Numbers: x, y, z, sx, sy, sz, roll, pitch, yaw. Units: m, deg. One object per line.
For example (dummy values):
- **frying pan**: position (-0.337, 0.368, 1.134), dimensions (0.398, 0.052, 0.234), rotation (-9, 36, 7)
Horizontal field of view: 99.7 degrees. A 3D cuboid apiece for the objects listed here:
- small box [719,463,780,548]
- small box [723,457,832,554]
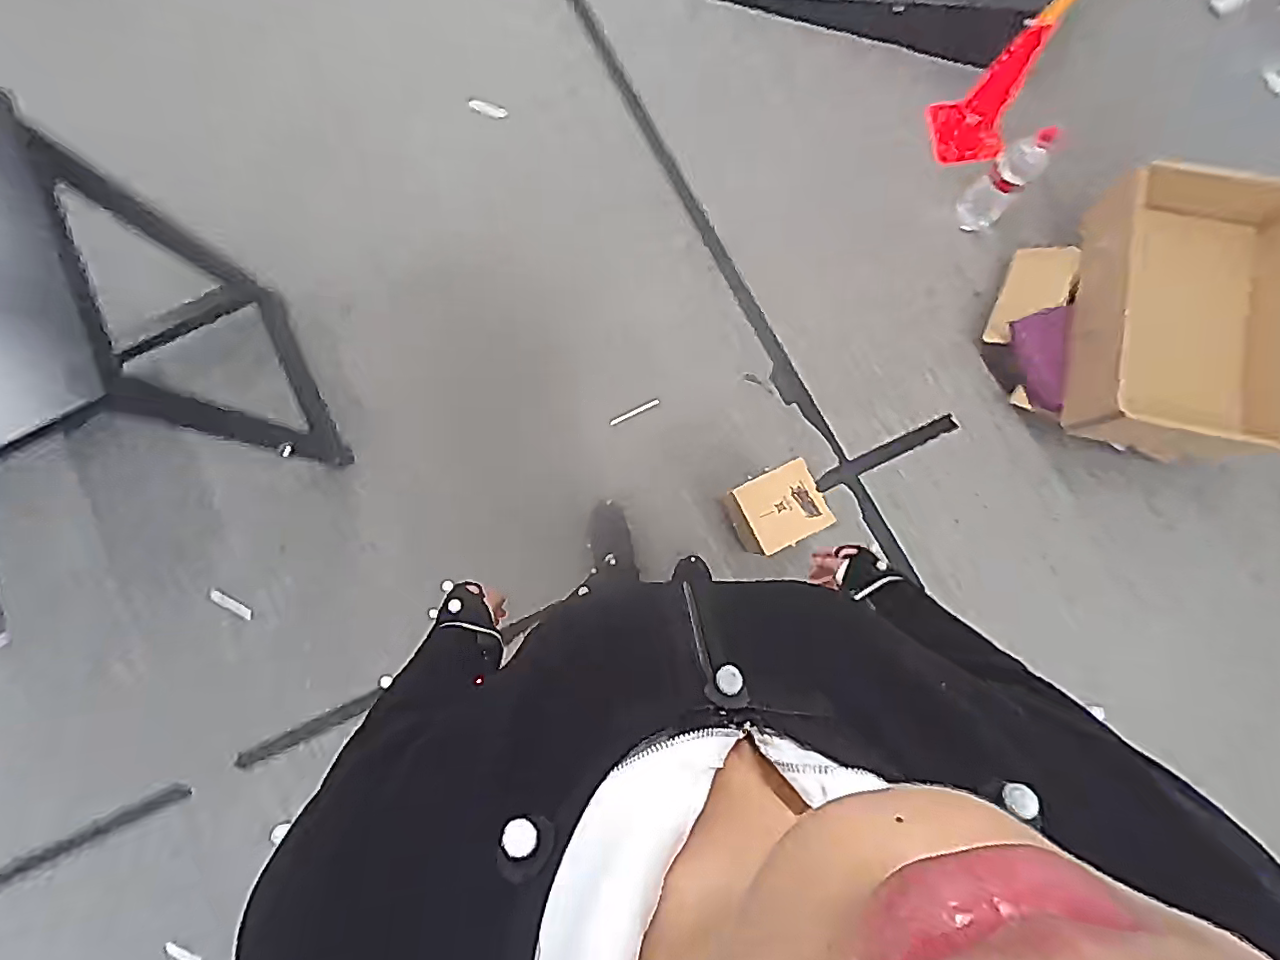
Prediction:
- **small box**: position (0.323, 0.077, 1.438), dimensions (0.168, 0.176, 0.179), rotation (-26, 84, -1)
- **small box**: position (0.314, 0.062, 1.274), dimensions (0.179, 0.176, 0.168), rotation (-26, 83, -1)
